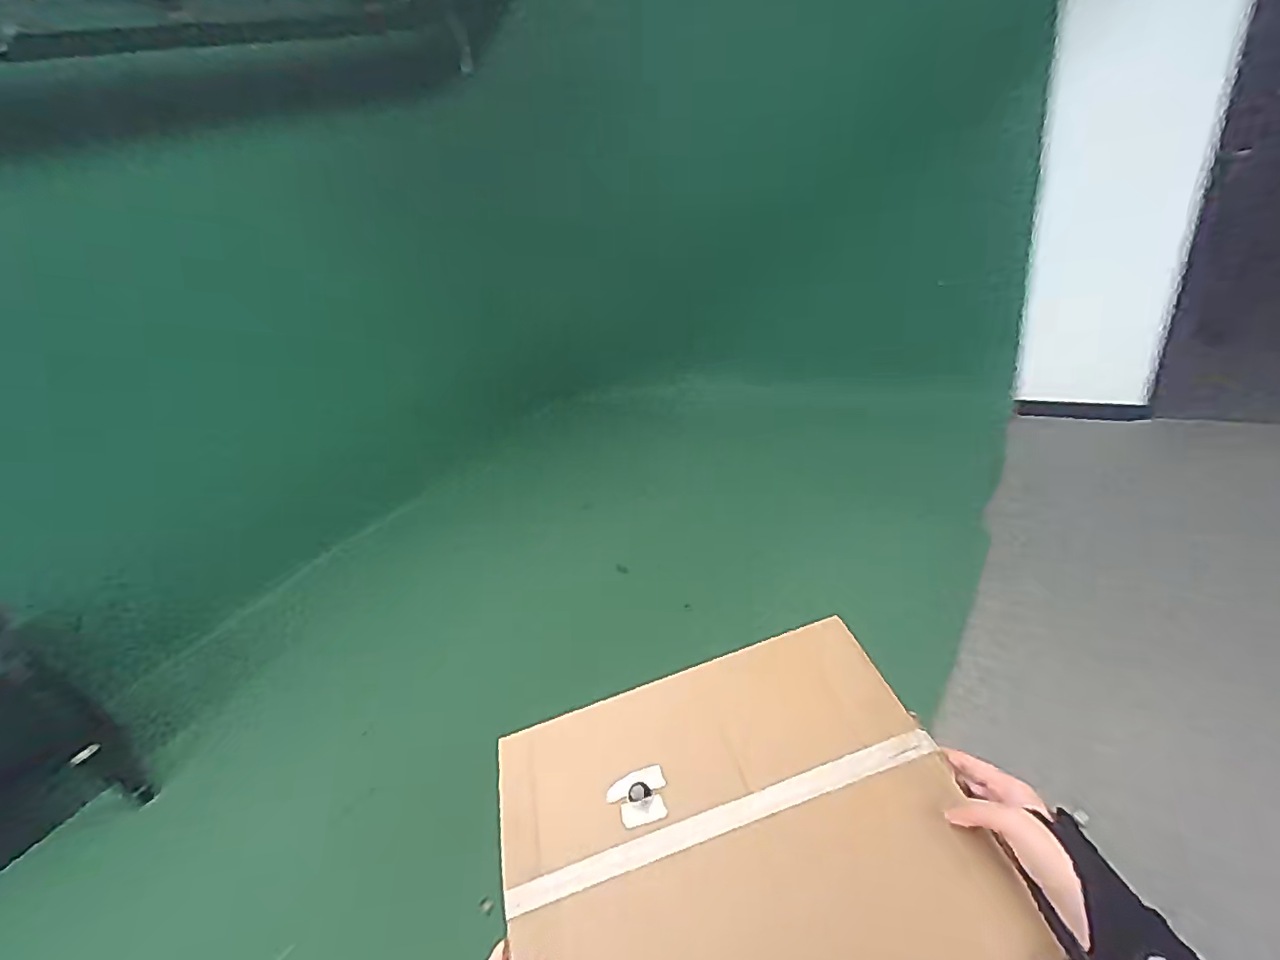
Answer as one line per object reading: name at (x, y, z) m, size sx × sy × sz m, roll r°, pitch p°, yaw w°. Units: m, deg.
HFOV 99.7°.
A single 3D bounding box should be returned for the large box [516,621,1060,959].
large box at (0.121, 0.425, 0.587) m, size 0.408 × 0.320 × 0.320 m, roll -20°, pitch 38°, yaw -2°
